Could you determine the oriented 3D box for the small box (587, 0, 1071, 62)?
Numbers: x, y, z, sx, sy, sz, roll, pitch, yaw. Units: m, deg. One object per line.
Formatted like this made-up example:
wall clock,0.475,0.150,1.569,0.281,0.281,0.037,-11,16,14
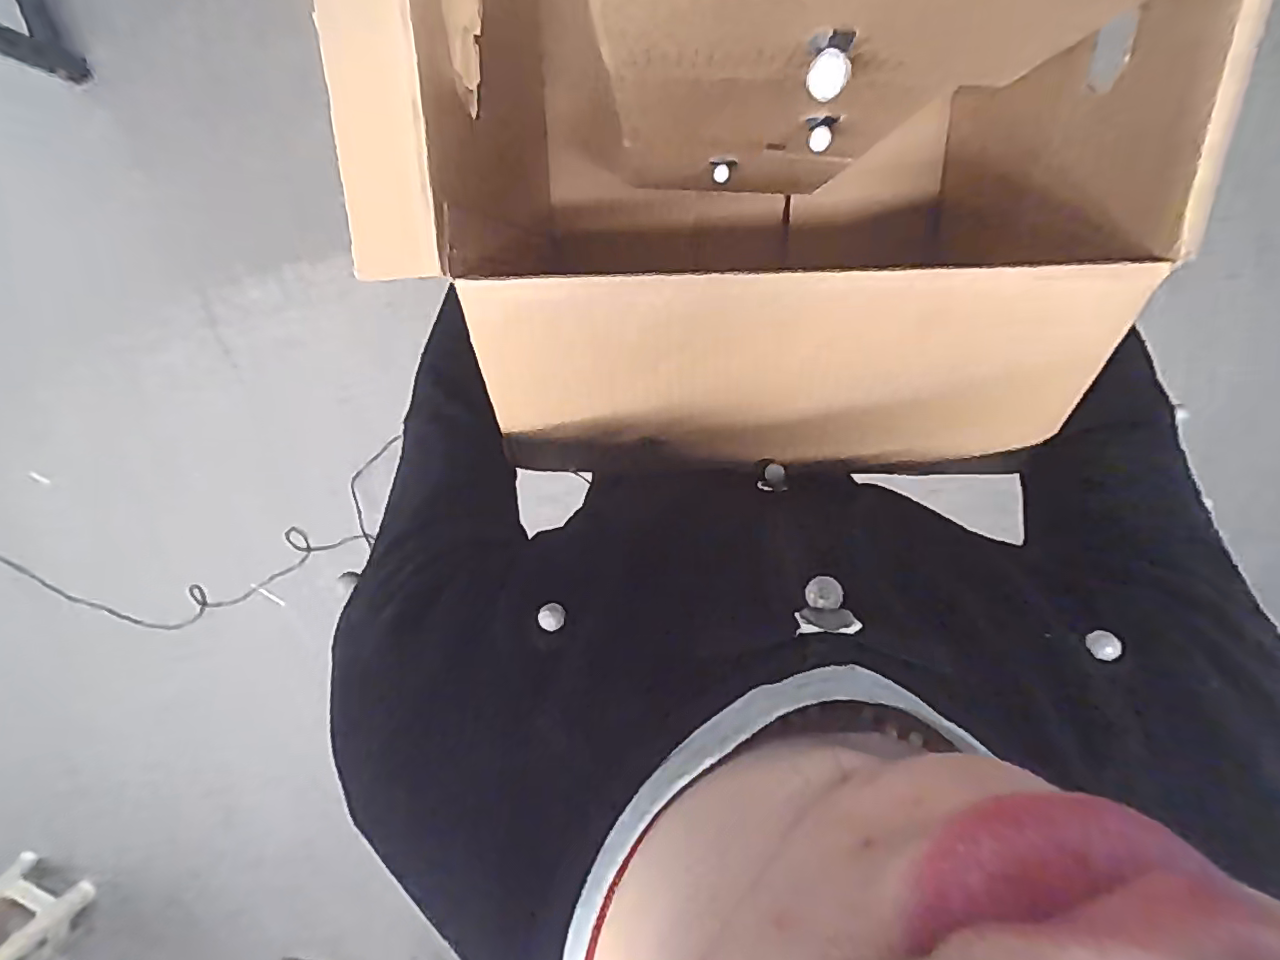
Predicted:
small box,0.068,-0.225,0.123,0.179,0.176,0.168,2,110,0
